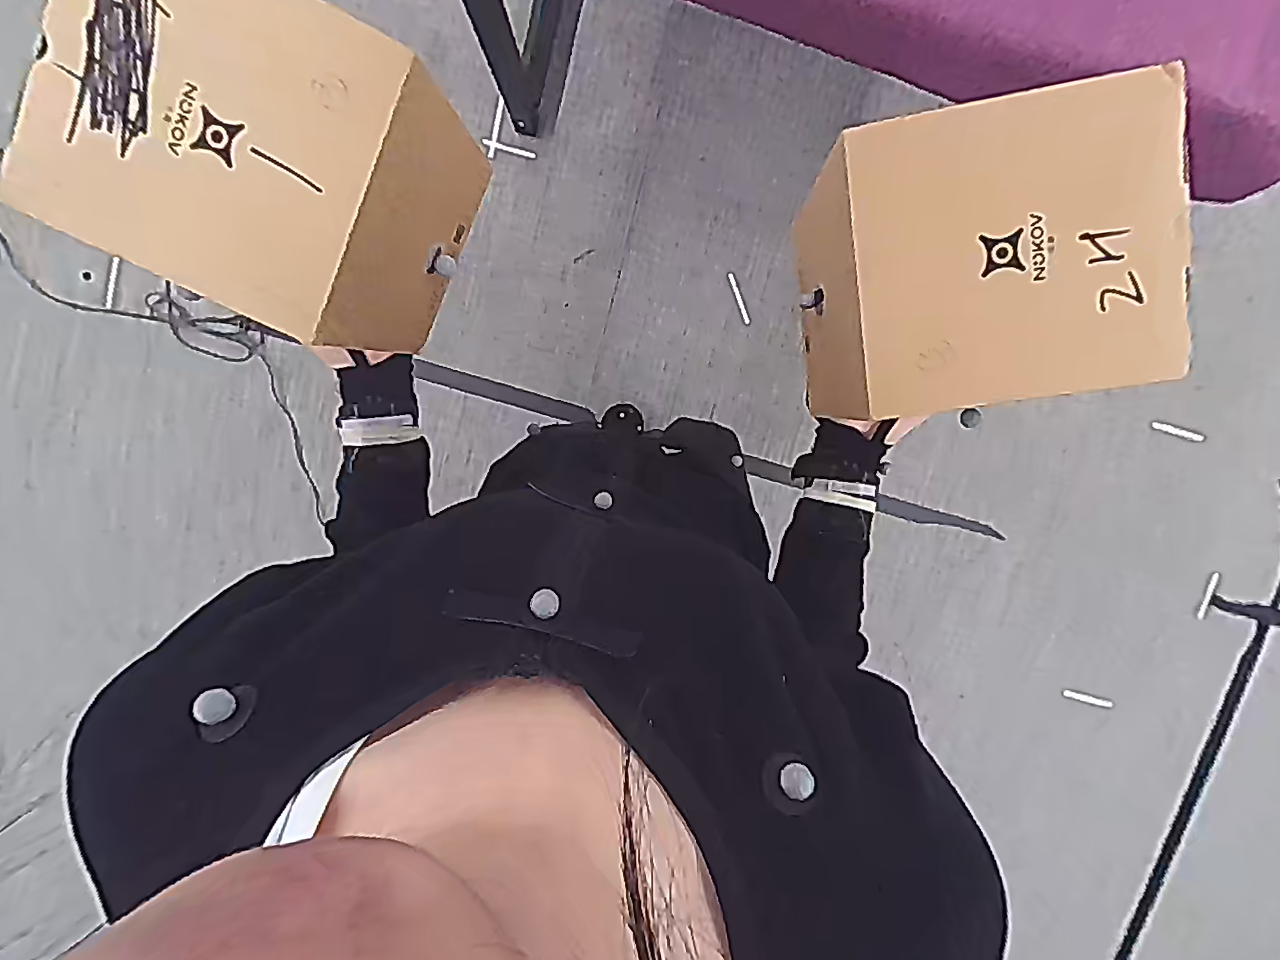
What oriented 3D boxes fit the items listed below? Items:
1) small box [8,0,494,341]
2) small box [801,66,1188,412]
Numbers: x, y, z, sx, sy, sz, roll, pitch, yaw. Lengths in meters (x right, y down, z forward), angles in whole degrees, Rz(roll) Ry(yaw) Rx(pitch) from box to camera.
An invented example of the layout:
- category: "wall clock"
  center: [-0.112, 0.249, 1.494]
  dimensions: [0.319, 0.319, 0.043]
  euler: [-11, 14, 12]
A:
- category: "small box"
  center: [-0.223, -0.202, 0.360]
  dimensions: [0.179, 0.176, 0.168]
  euler: [25, 100, -7]
- category: "small box"
  center: [0.218, -0.139, 0.382]
  dimensions: [0.179, 0.176, 0.168]
  euler: [-7, 98, 6]
